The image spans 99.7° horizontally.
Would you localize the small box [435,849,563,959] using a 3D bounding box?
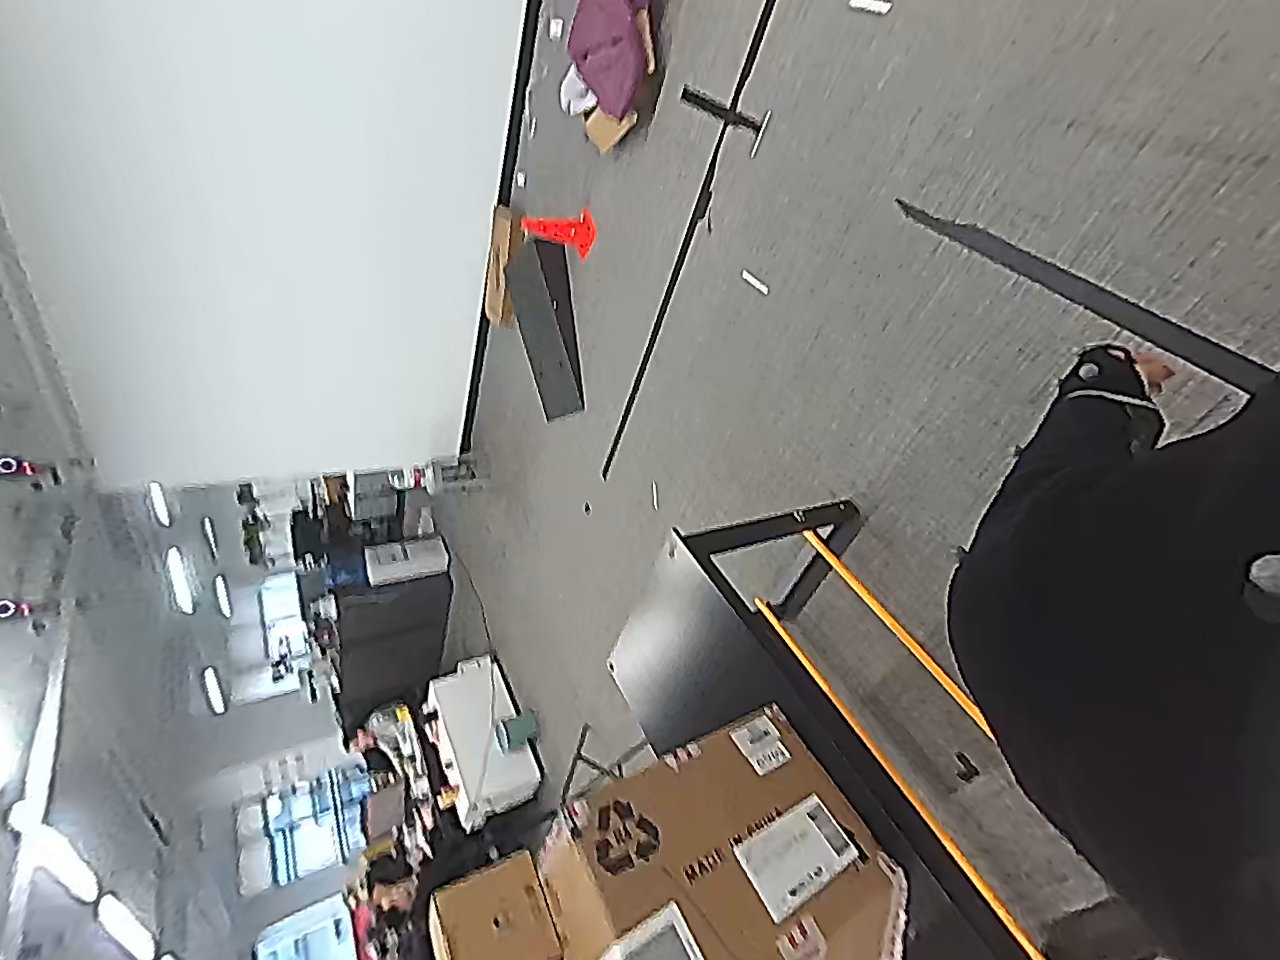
[{"bbox_3d":[-0.248,0.790,0.943,0.168,0.176,0.179,52,136,41],"label":"small box"}]
